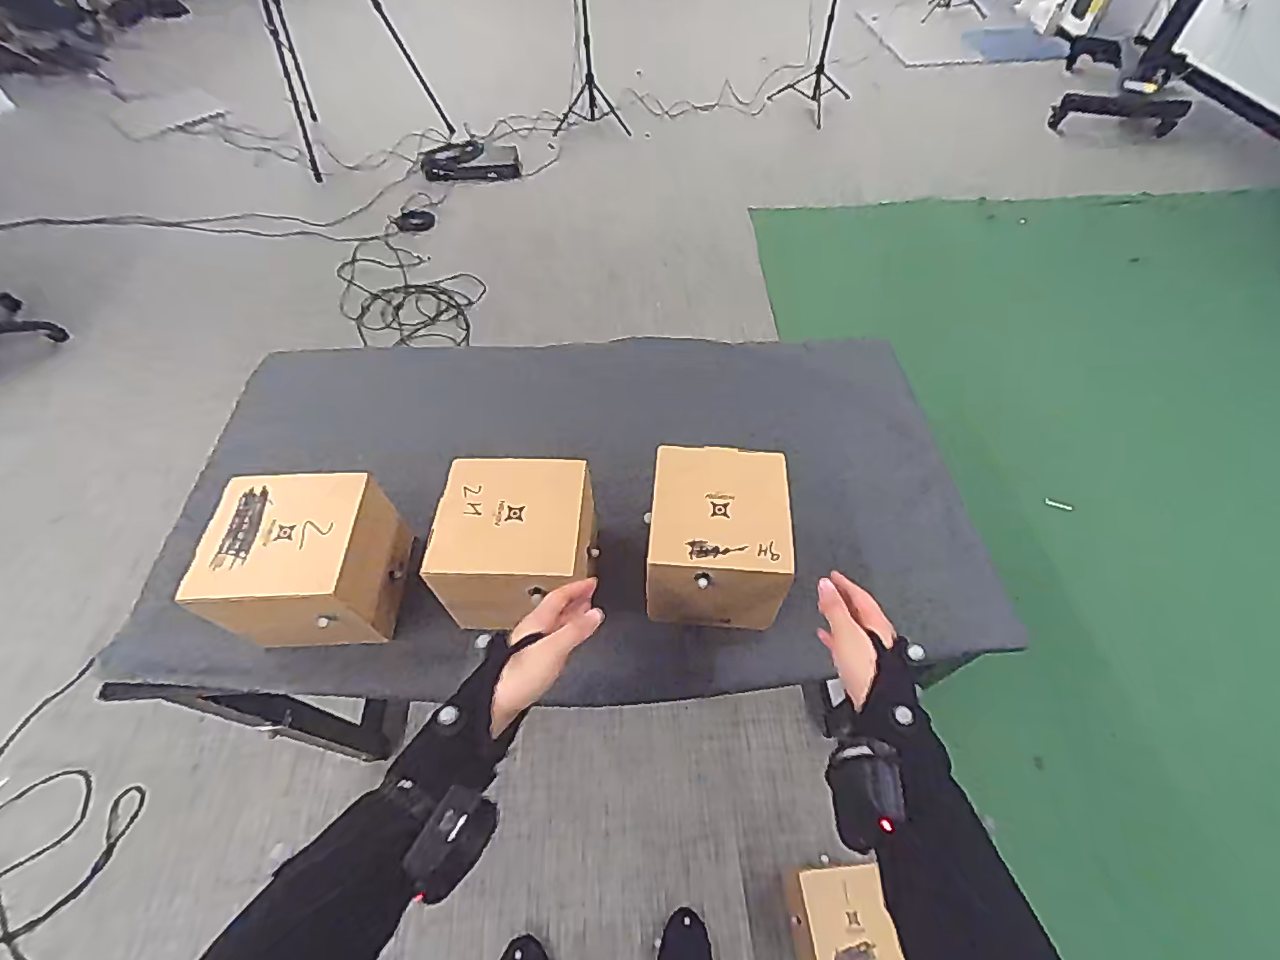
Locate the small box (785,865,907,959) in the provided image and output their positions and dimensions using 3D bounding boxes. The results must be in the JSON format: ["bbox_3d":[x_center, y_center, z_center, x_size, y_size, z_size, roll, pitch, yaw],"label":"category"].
[{"bbox_3d":[0.392,0.862,1.048,0.168,0.176,0.179,-4,55,-2],"label":"small box"}]
